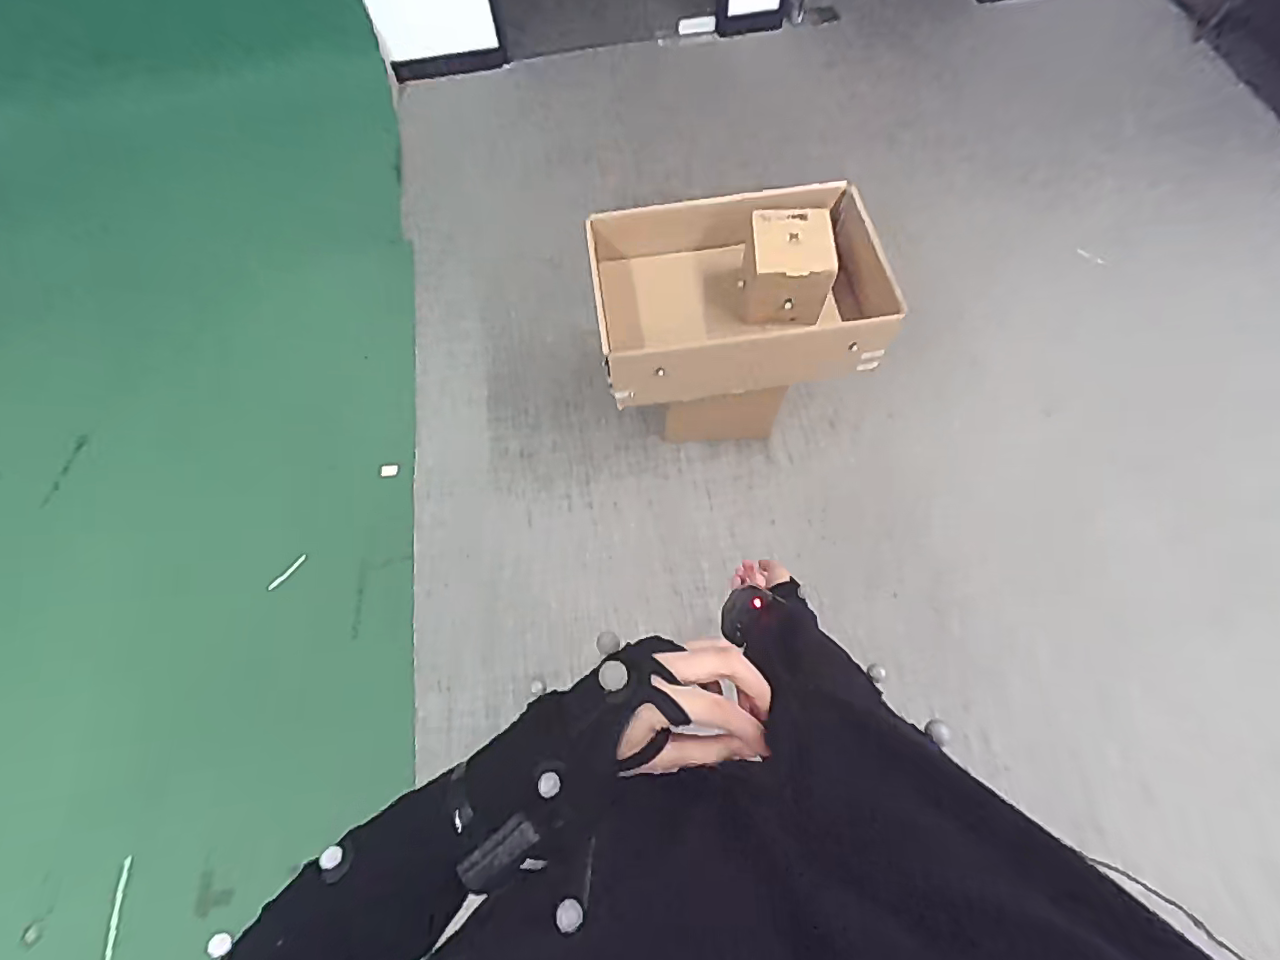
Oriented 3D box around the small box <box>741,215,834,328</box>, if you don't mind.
[{"bbox_3d":[0.319,-0.456,1.197,0.168,0.176,0.179,1,67,2],"label":"small box"}]
